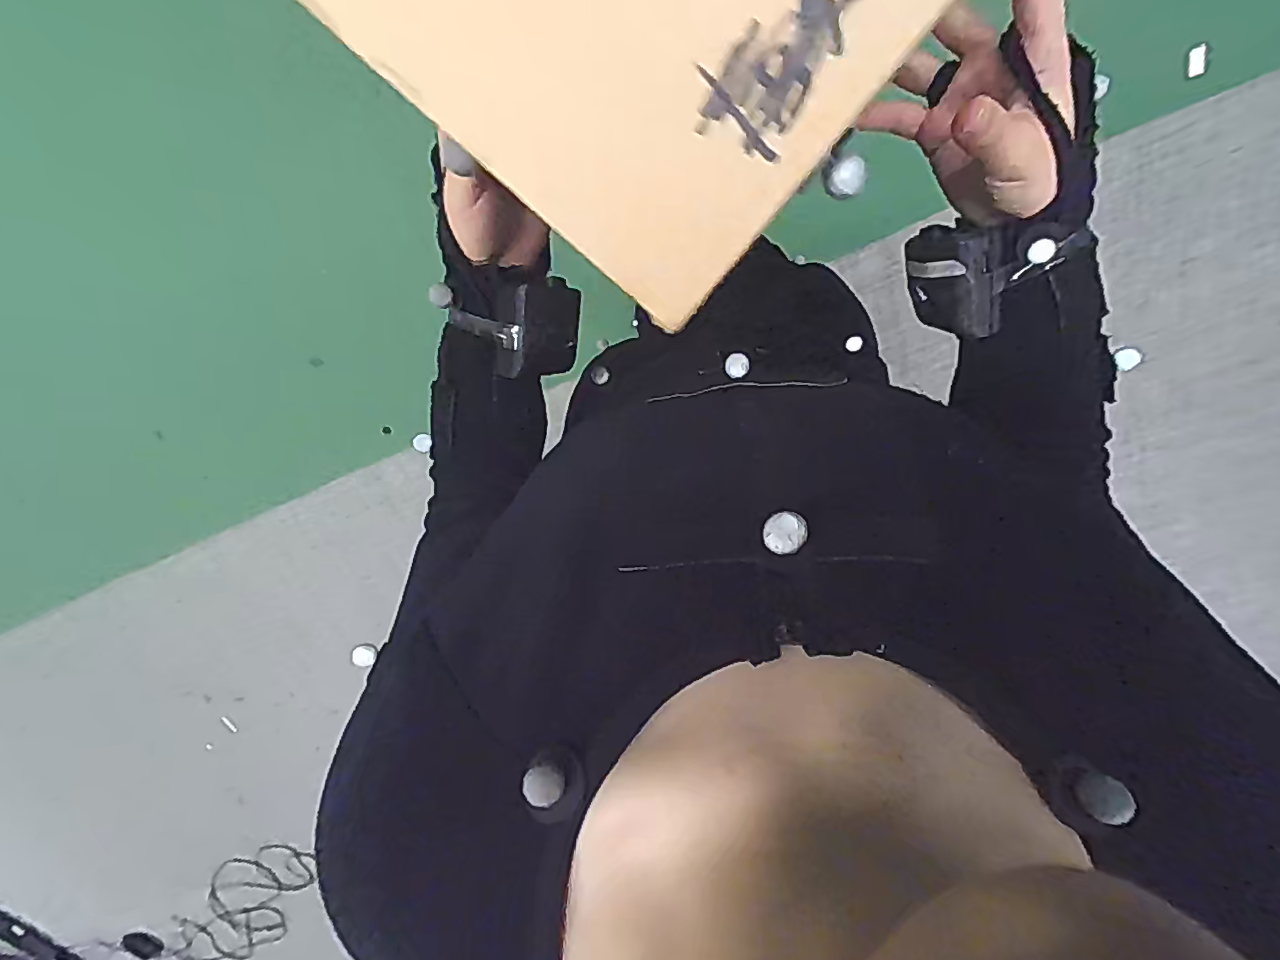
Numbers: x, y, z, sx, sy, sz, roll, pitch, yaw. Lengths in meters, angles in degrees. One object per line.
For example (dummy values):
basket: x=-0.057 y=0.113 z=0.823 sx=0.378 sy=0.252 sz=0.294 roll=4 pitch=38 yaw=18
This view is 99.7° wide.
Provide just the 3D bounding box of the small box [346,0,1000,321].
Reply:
small box: x=0.015 y=-0.181 z=0.206 sx=0.179 sy=0.176 sz=0.168 roll=40 pitch=108 yaw=-8
